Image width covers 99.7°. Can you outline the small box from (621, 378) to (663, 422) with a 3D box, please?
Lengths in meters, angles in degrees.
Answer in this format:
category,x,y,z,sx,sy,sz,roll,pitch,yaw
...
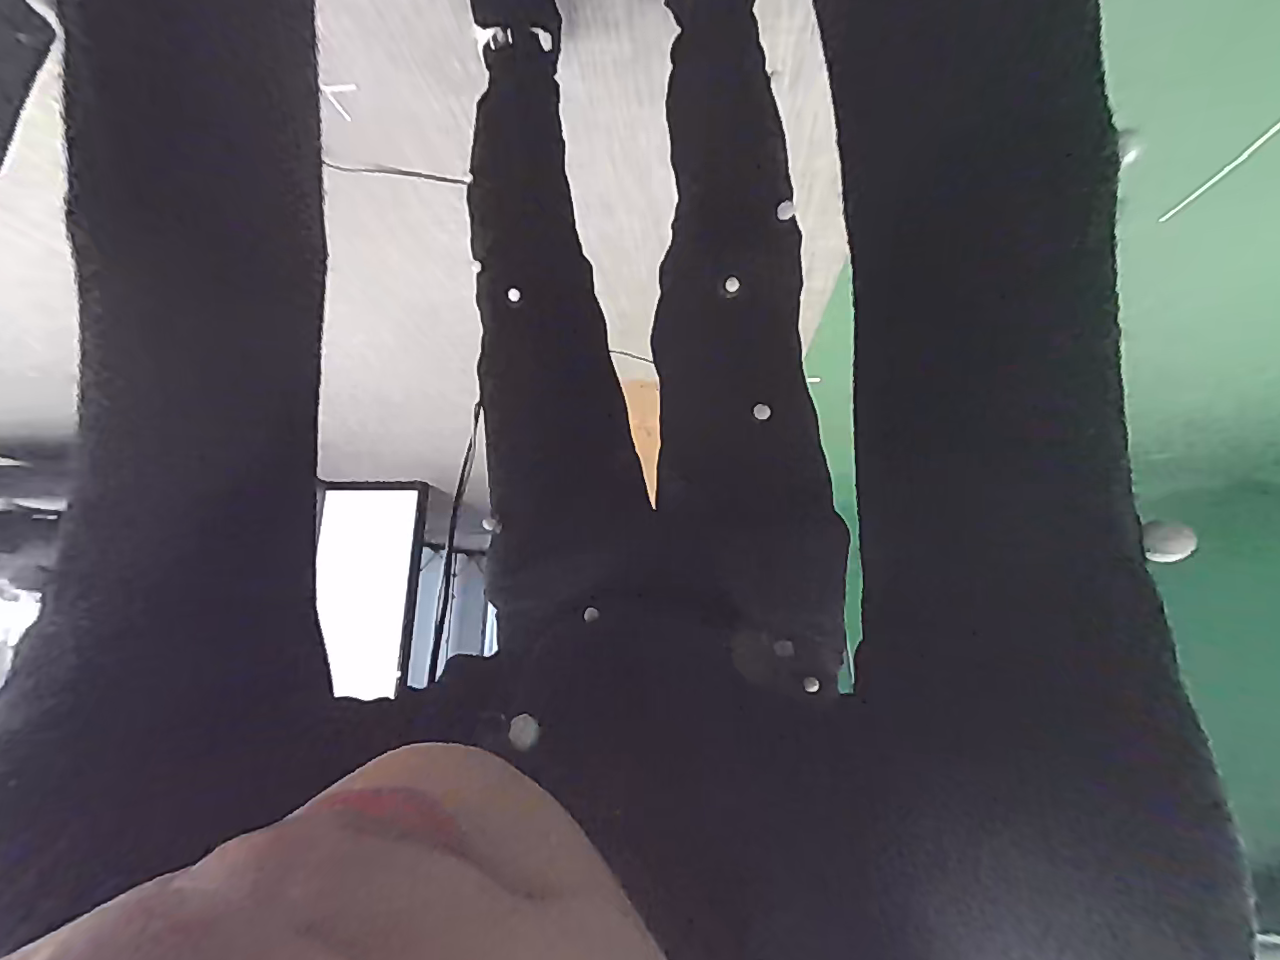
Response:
category,x,y,z,sx,sy,sz,roll,pitch,yaw
small box,0.008,-0.309,2.207,0.168,0.176,0.179,2,169,1

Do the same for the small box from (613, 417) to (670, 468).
category,x,y,z,sx,sy,sz,roll,pitch,yaw
small box,0.006,-0.154,2.193,0.179,0.176,0.168,9,165,-30
